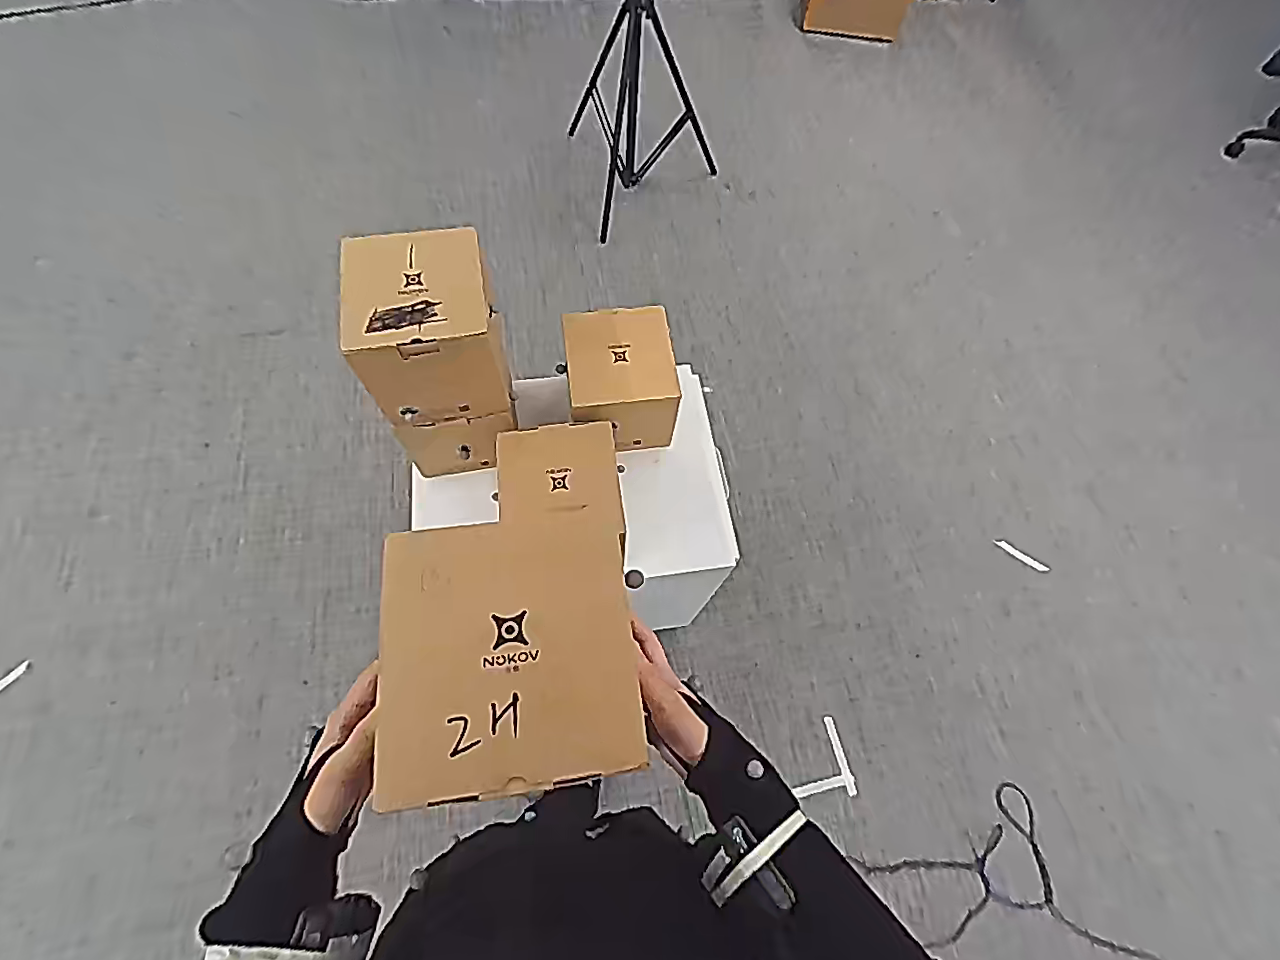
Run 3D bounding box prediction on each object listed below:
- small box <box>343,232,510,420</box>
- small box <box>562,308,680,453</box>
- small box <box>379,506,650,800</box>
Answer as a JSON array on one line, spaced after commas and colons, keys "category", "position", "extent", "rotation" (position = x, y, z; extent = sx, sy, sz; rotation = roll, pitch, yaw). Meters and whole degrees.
[{"category": "small box", "position": [-0.274, -0.194, 0.722], "extent": [0.168, 0.176, 0.179], "rotation": [-10, 67, -8]}, {"category": "small box", "position": [-0.034, -0.156, 0.902], "extent": [0.168, 0.176, 0.179], "rotation": [-7, 67, -6]}, {"category": "small box", "position": [-0.091, 0.137, 0.435], "extent": [0.168, 0.176, 0.179], "rotation": [-6, 67, -7]}]
